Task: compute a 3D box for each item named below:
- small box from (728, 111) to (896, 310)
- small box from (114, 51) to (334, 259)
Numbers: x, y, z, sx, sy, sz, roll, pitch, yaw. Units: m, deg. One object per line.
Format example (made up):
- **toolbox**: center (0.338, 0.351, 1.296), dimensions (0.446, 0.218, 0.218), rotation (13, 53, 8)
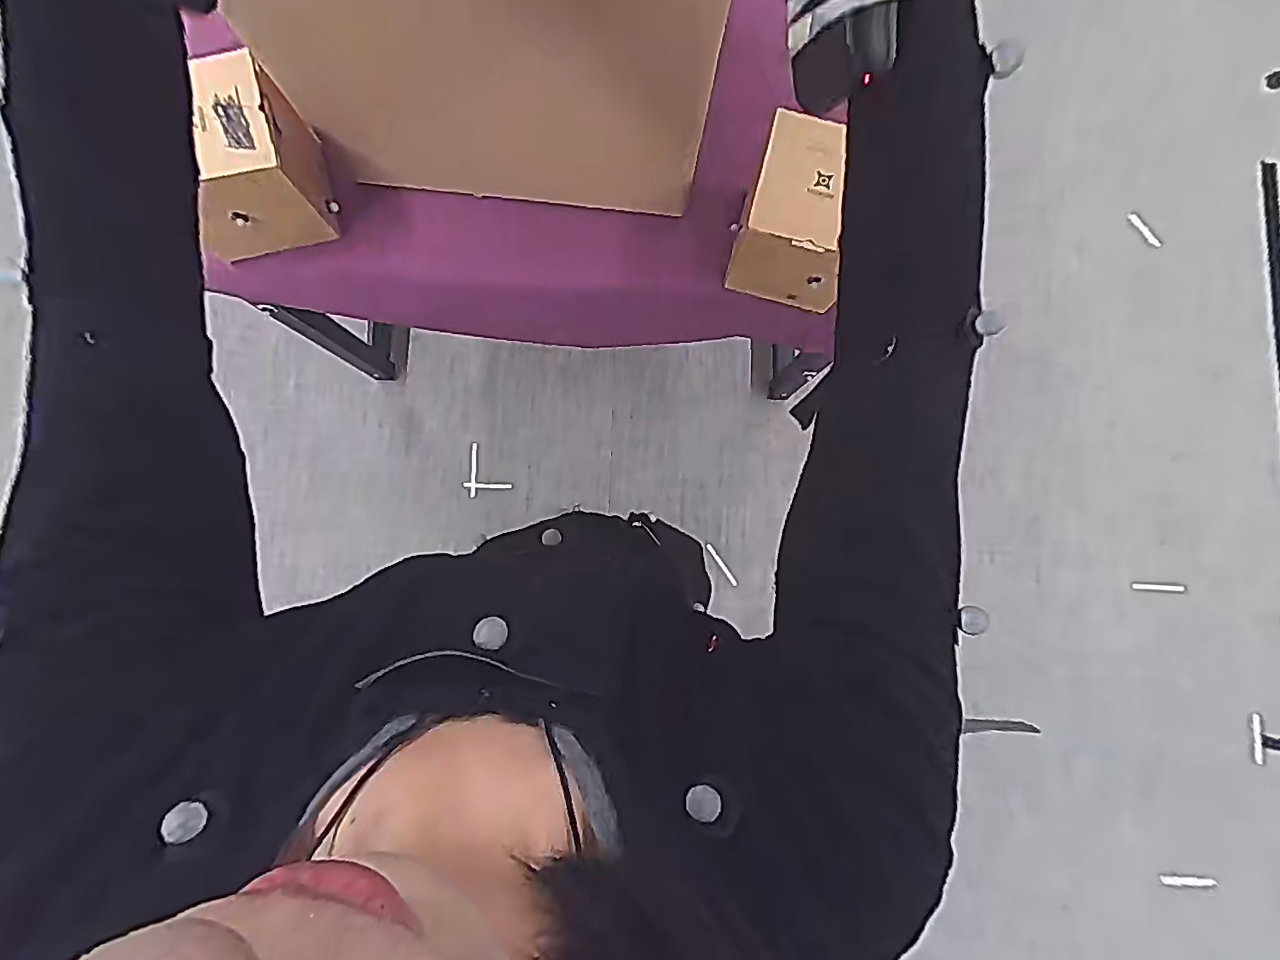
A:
- **small box**: center (0.233, -0.371, 0.776), dimensions (0.168, 0.176, 0.179), rotation (14, 82, -1)
- **small box**: center (-0.553, -0.437, 0.750), dimensions (0.179, 0.176, 0.168), rotation (-15, 85, -5)
